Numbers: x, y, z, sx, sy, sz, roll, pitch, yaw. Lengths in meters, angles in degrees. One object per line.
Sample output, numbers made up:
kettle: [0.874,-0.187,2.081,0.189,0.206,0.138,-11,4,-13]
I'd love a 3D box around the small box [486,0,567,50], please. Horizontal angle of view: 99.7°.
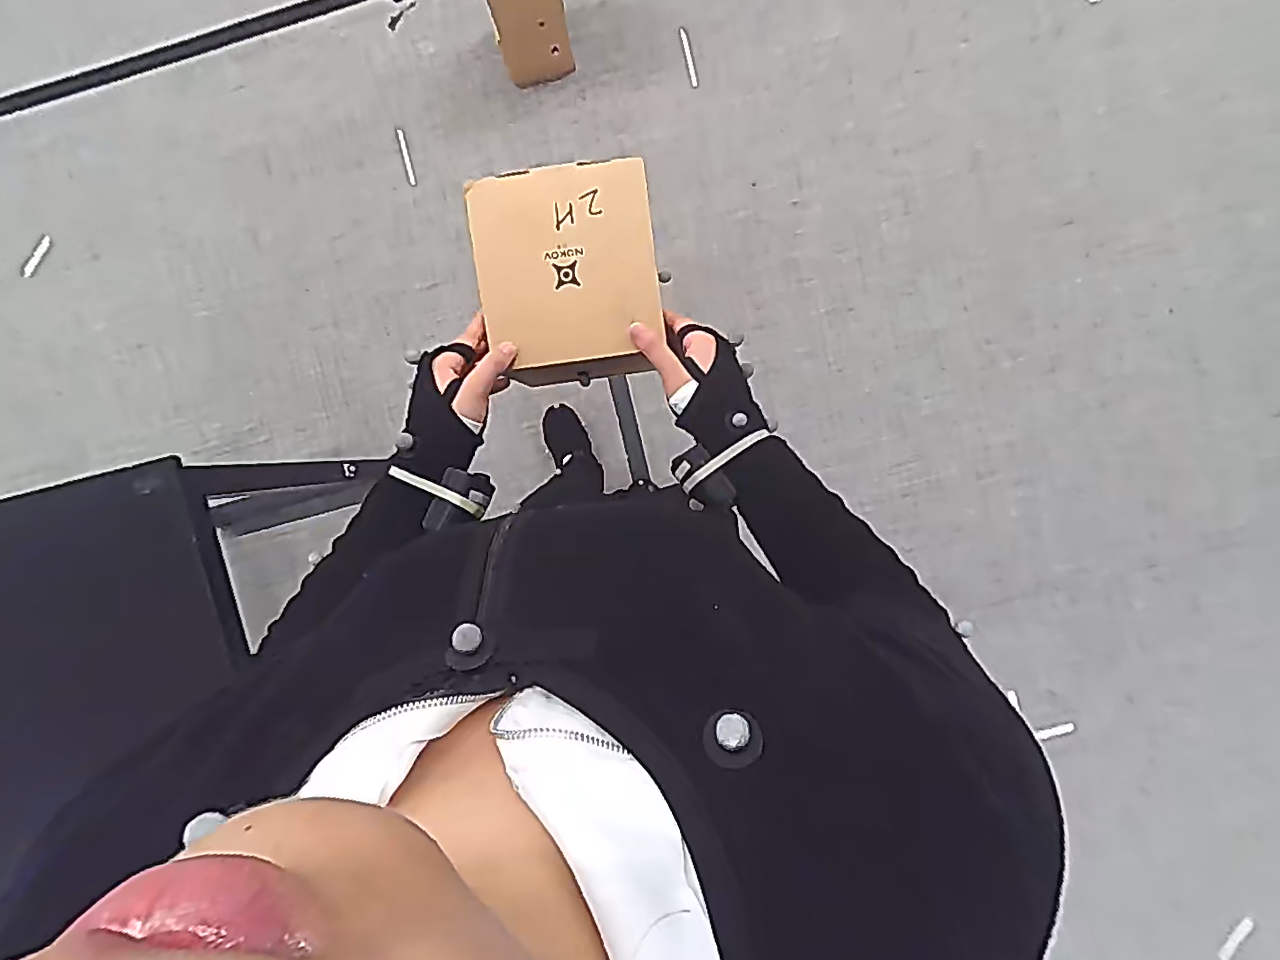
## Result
small box: [-0.273,-1.127,1.211,0.168,0.176,0.179,-16,90,2]

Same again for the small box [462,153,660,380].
small box: [-0.069,-0.204,0.572,0.168,0.176,0.179,-8,94,1]

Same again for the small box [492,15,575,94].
small box: [-0.271,-1.134,1.374,0.179,0.176,0.168,-15,91,3]
